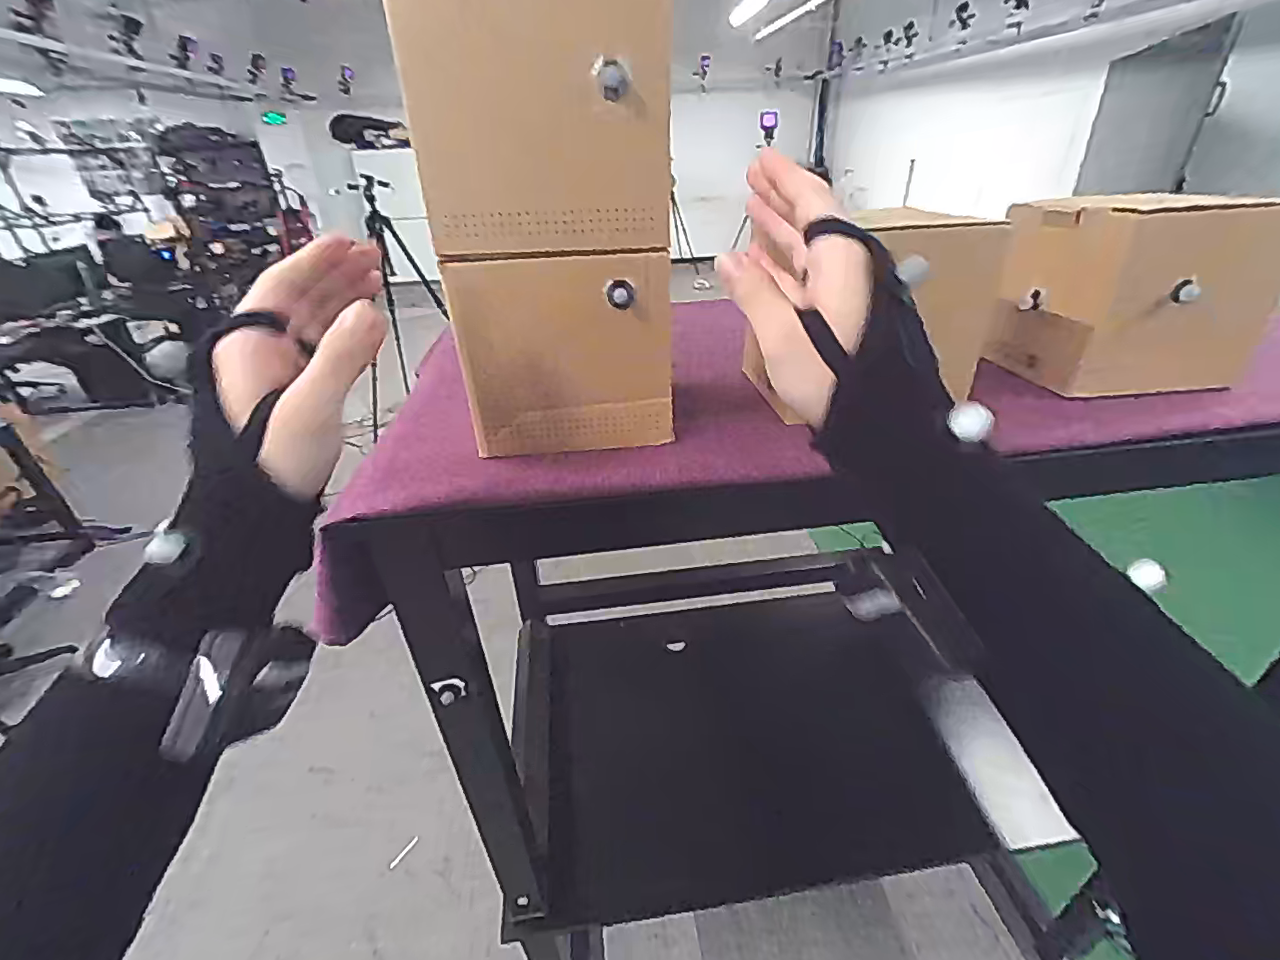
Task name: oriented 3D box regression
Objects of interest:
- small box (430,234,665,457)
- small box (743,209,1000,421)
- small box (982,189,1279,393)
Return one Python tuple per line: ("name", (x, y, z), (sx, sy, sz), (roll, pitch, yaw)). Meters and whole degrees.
("small box", (-0.073, -0.130, 0.512), (0.179, 0.176, 0.168), (-4, 30, -4))
("small box", (0.206, -0.166, 0.539), (0.179, 0.176, 0.168), (-5, 30, -2))
("small box", (0.488, -0.196, 0.557), (0.179, 0.176, 0.168), (-6, 30, -2))
